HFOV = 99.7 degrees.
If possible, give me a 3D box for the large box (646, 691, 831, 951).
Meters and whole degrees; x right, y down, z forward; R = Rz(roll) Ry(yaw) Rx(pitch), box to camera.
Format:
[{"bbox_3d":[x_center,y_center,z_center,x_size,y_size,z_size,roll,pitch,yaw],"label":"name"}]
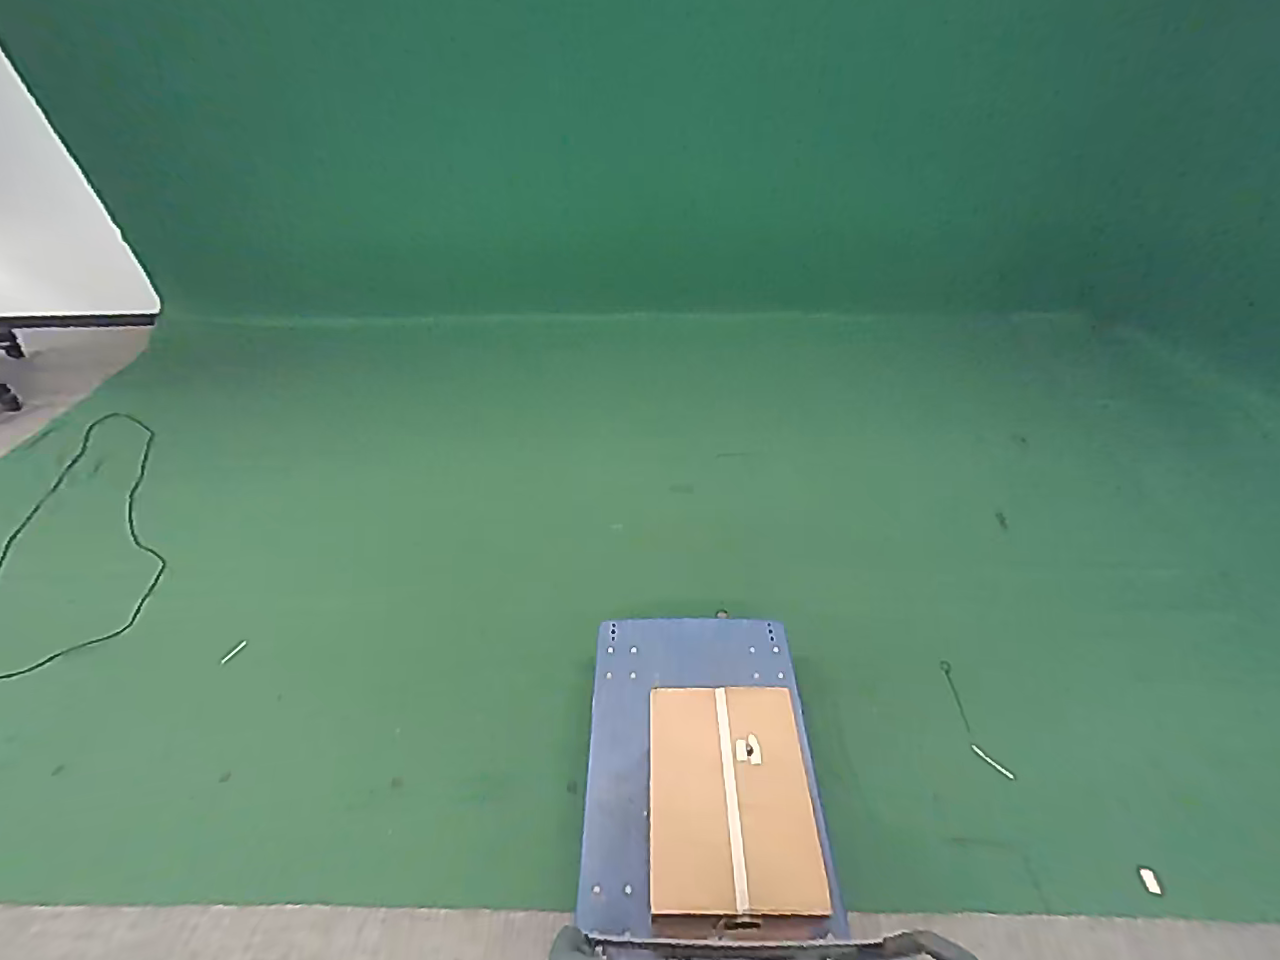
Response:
[{"bbox_3d":[0.176,0.722,1.162,0.320,0.320,0.408,-1,41,0],"label":"large box"}]
